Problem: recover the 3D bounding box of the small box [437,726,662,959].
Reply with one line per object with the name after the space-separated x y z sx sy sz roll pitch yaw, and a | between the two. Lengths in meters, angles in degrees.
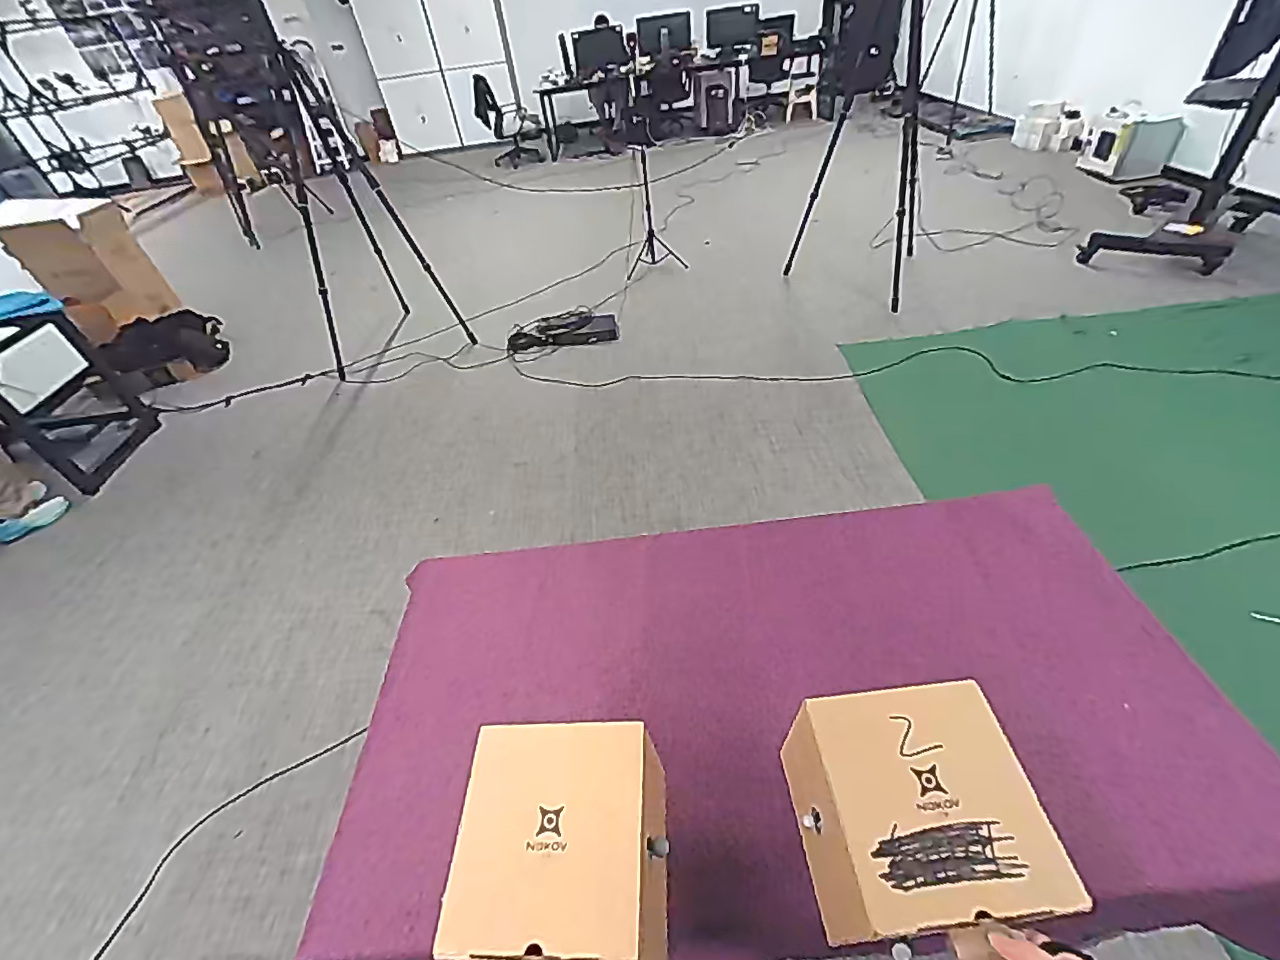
-0.070 0.363 0.538 0.168 0.176 0.179 -5 48 7 | small box
